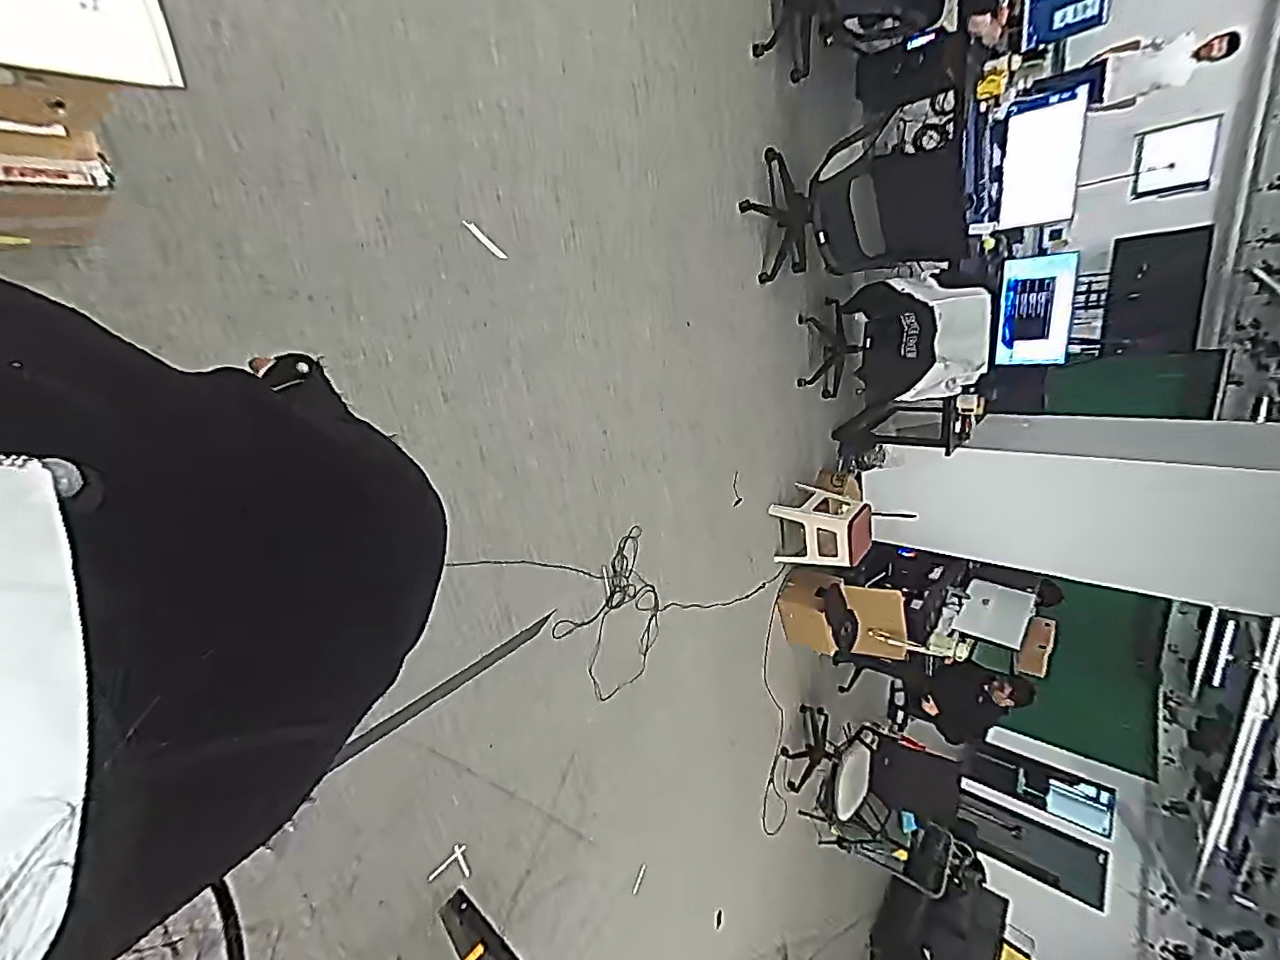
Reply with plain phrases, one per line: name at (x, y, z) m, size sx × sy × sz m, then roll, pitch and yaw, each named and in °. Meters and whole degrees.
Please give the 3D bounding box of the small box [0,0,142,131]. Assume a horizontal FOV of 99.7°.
small box at (-0.597, -0.442, 0.481) m, size 0.168 × 0.176 × 0.179 m, roll -27°, pitch 118°, yaw -45°
